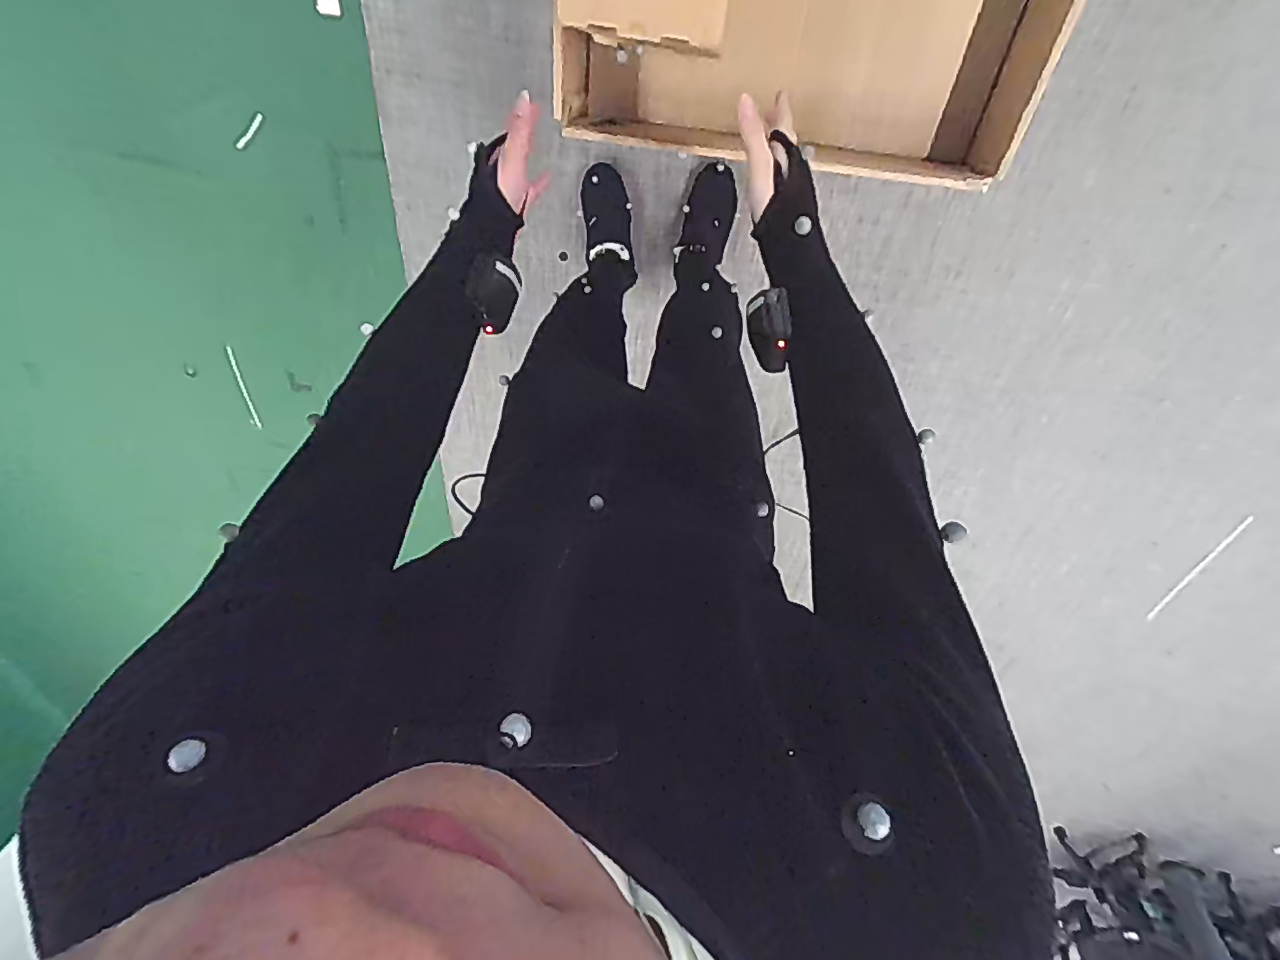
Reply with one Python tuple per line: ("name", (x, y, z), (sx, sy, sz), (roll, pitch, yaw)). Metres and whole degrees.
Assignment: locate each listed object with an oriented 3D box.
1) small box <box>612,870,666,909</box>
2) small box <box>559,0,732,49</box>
("small box", (0.002, 1.300, 1.811), (0.168, 0.176, 0.179), (7, 129, 4))
("small box", (0.023, -0.557, 0.540), (0.168, 0.176, 0.179), (11, 128, 1))
